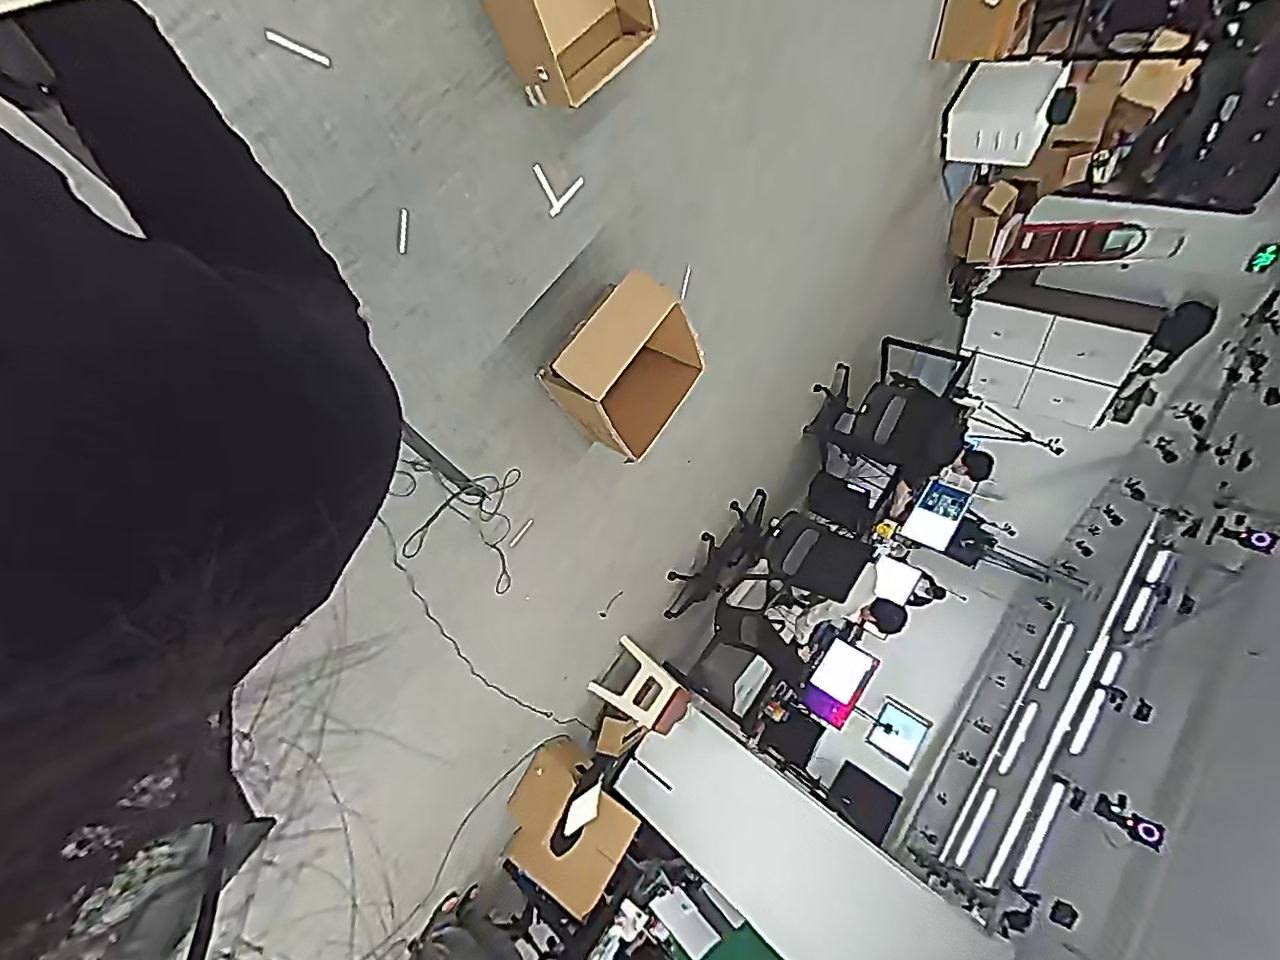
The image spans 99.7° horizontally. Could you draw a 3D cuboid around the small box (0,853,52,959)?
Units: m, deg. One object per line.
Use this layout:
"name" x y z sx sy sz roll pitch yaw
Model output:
"small box" -0.794 0.530 0.566 0.179 0.176 0.168 -57 147 -9
